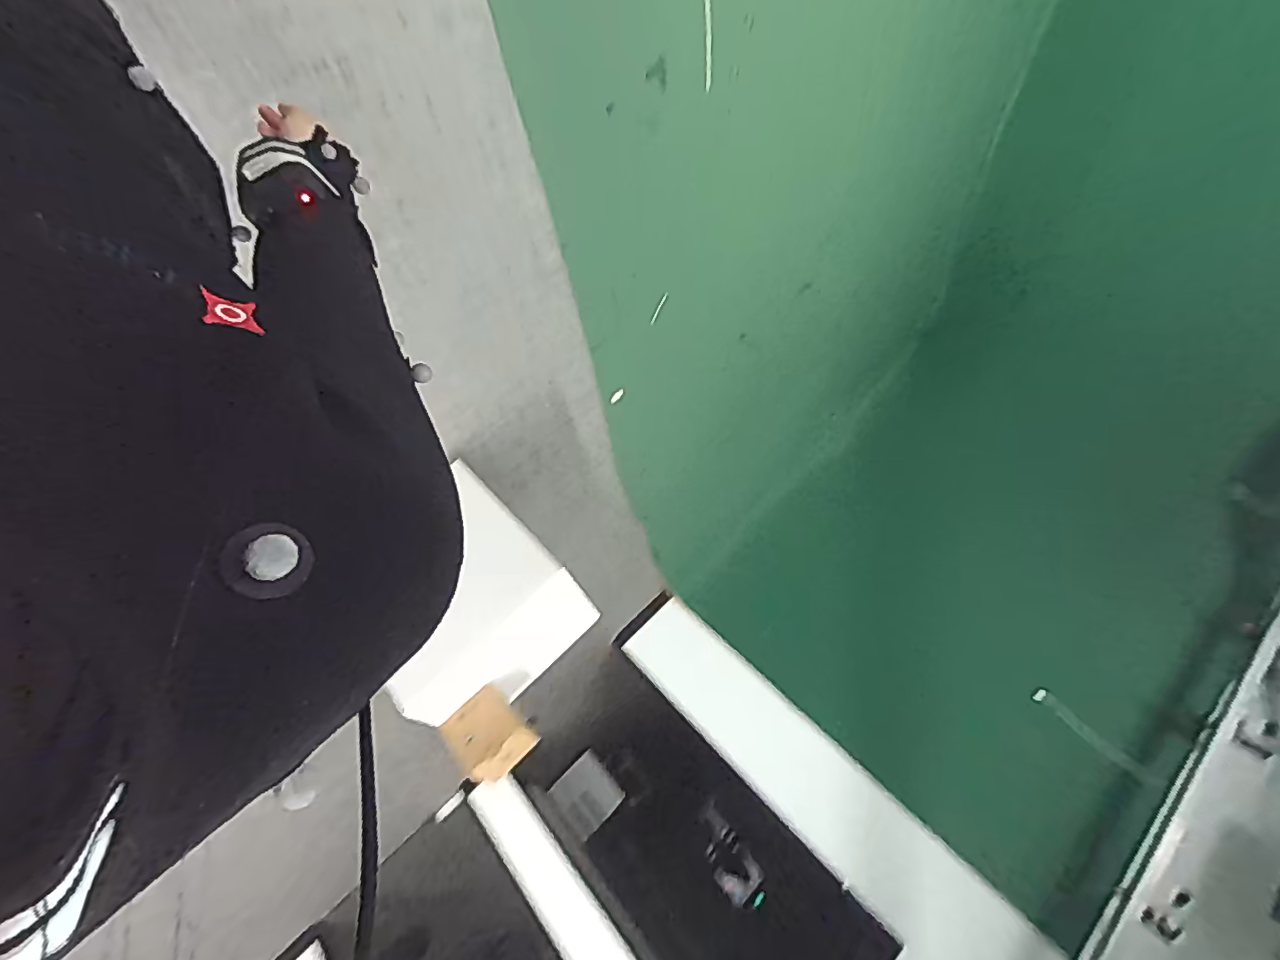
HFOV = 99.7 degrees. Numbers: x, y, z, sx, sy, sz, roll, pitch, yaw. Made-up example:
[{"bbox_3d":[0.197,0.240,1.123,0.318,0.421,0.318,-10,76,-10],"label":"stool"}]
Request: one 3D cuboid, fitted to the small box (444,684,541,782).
[{"bbox_3d":[-0.409,0.696,1.497,0.168,0.176,0.179,-40,148,-18],"label":"small box"}]
